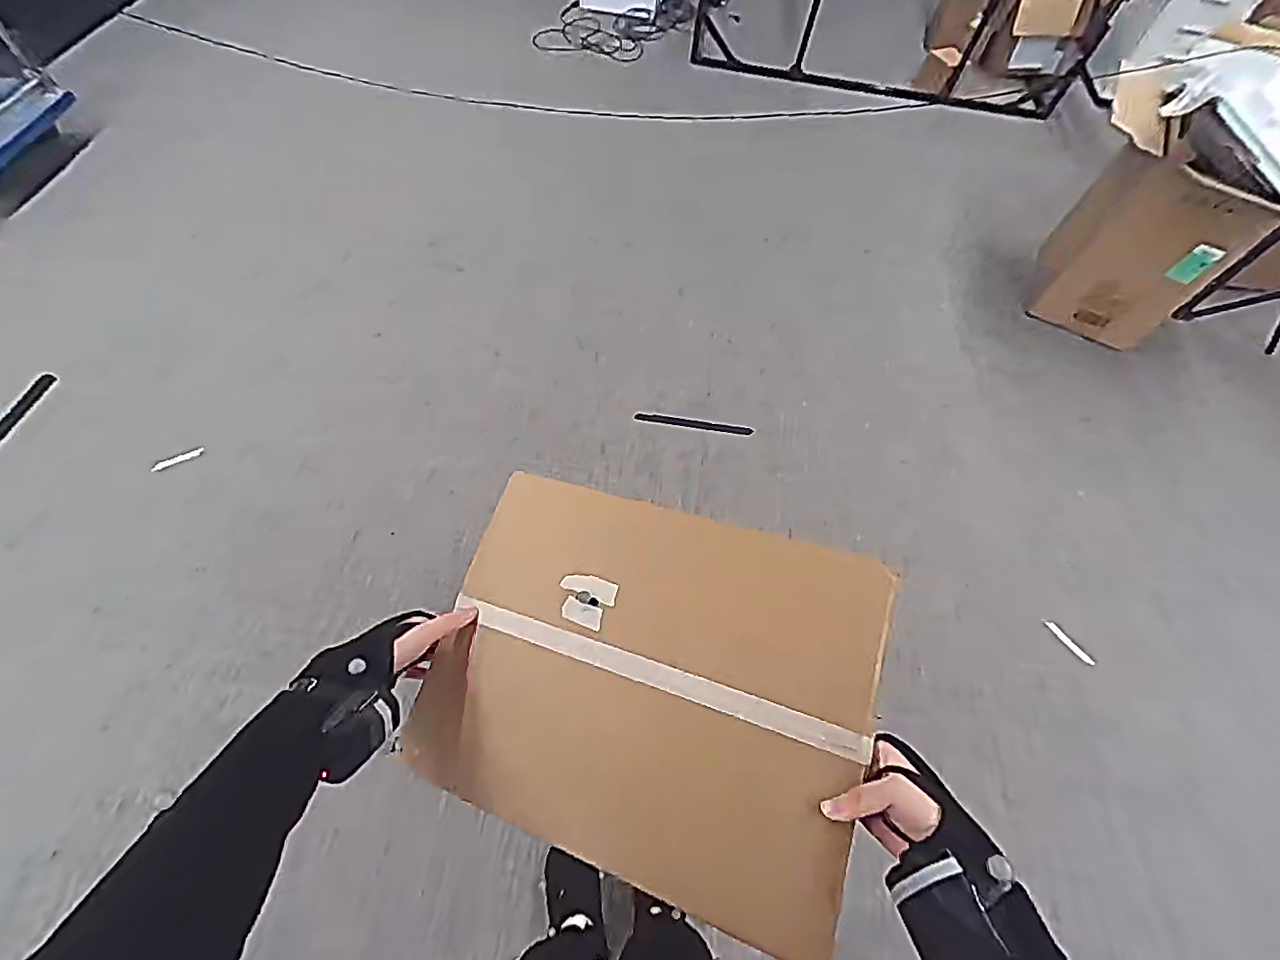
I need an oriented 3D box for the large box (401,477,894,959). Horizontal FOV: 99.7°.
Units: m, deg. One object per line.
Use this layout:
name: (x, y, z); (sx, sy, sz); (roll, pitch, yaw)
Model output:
large box: (0.035, 0.227, 0.629); (0.408, 0.320, 0.320); (13, 71, 19)
